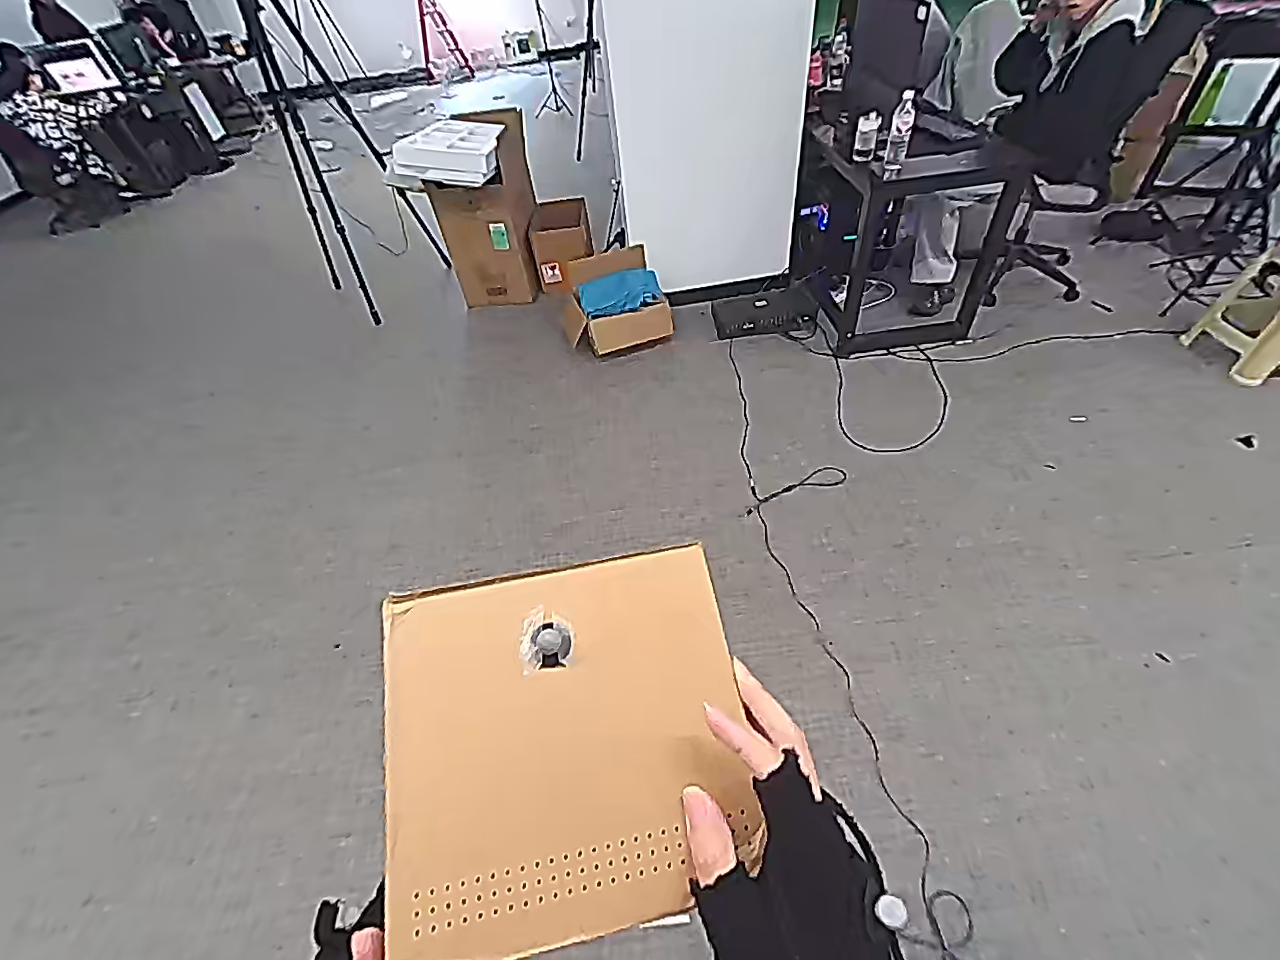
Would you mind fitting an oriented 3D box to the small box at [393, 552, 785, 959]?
[{"bbox_3d":[-0.035,0.162,0.336,0.179,0.168,0.176,-9,66,-8],"label":"small box"}]
